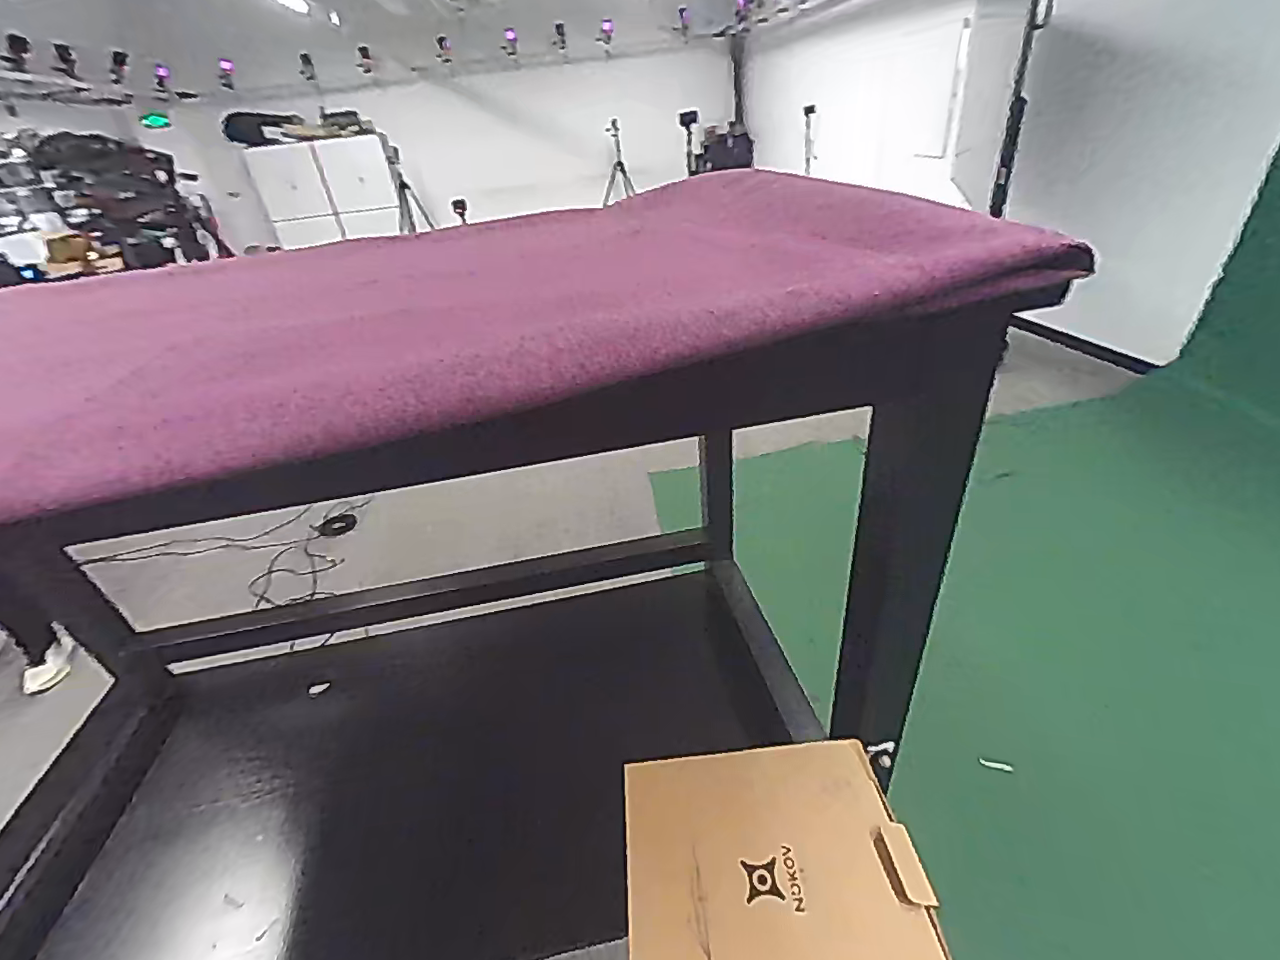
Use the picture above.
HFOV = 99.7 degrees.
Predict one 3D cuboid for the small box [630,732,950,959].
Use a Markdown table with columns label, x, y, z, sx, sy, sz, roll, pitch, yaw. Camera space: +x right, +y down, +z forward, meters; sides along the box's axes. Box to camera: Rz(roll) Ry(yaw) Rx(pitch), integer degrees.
| label | x | y | z | sx | sy | sz | roll | pitch | yaw |
| --- | --- | --- | --- | --- | --- | --- | --- | --- | --- |
| small box | 0.091 | 0.309 | 0.381 | 0.179 | 0.176 | 0.168 | -8 | 32 | 2 |
